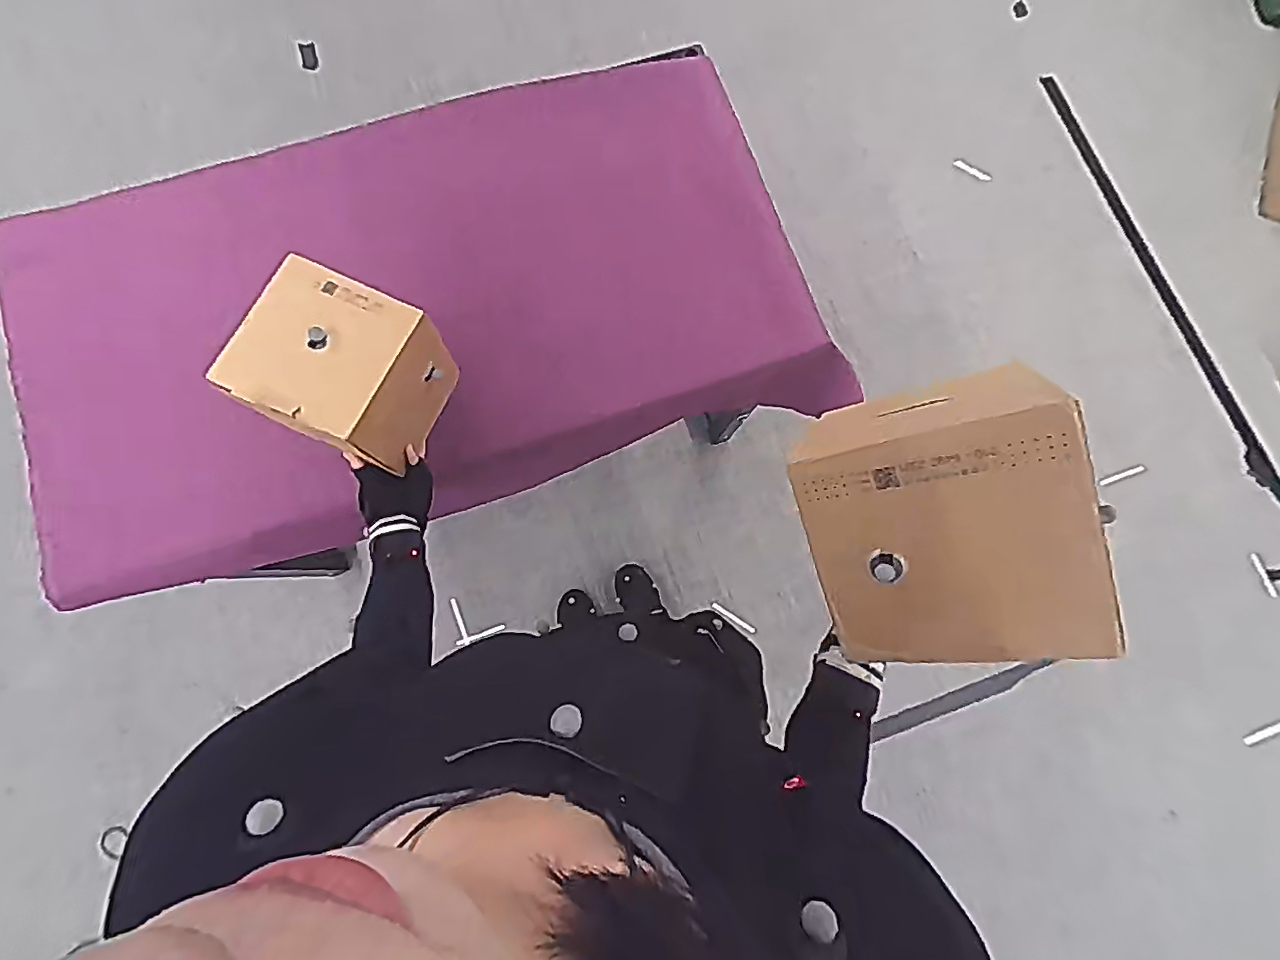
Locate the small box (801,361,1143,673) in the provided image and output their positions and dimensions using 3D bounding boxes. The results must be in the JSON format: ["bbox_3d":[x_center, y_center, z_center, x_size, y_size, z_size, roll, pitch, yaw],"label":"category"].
[{"bbox_3d":[0.233,0.021,0.408,0.168,0.179,0.176,-12,103,30],"label":"small box"}]

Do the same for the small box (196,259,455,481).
[{"bbox_3d":[-0.346,-0.122,0.637,0.168,0.179,0.176,25,77,0],"label":"small box"}]
